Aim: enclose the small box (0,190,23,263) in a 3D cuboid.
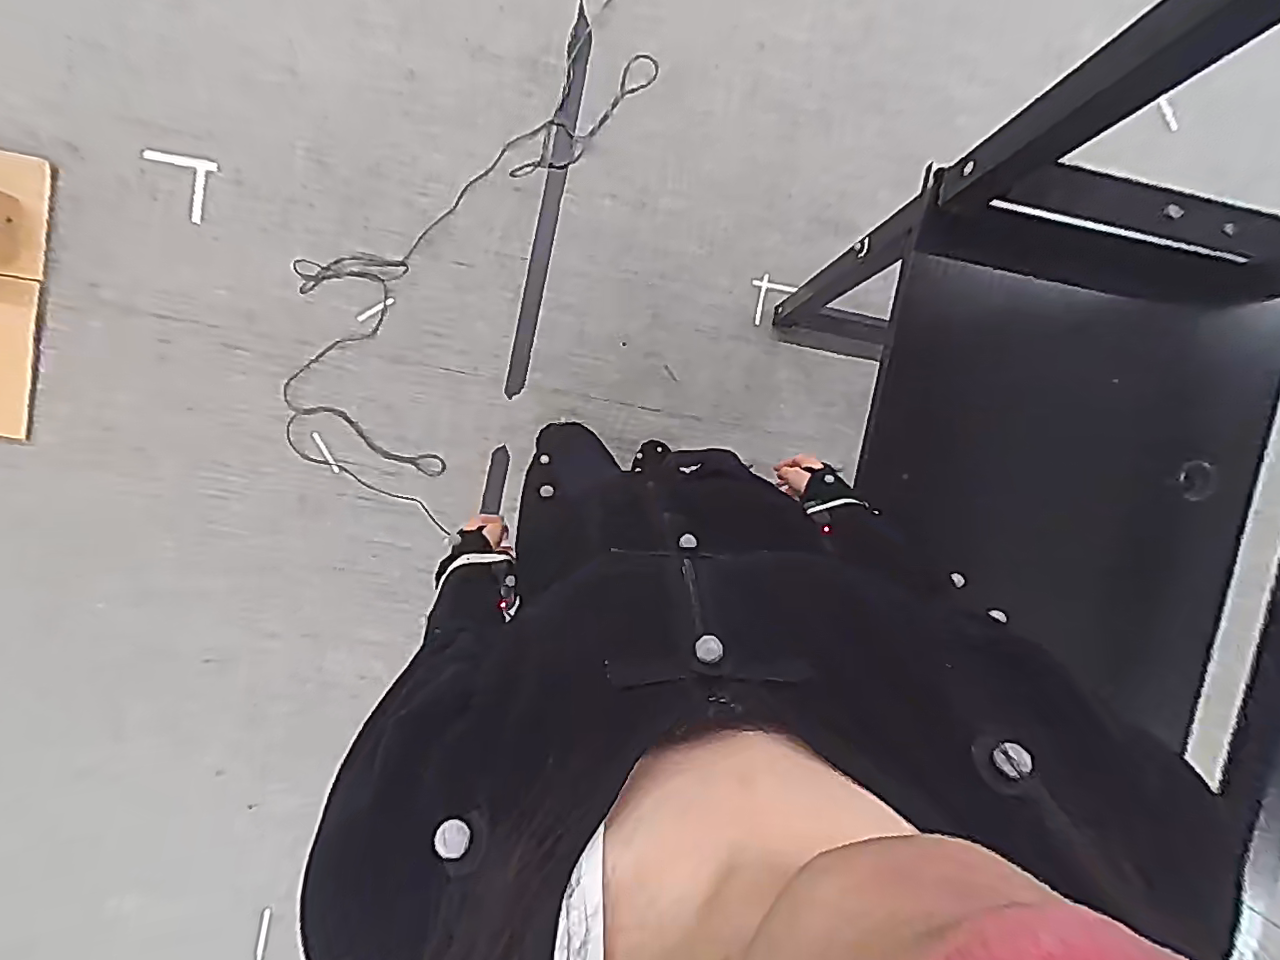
[{"bbox_3d":[-1.604,-0.617,1.240,0.179,0.176,0.168,10,94,-6],"label":"small box"}]
